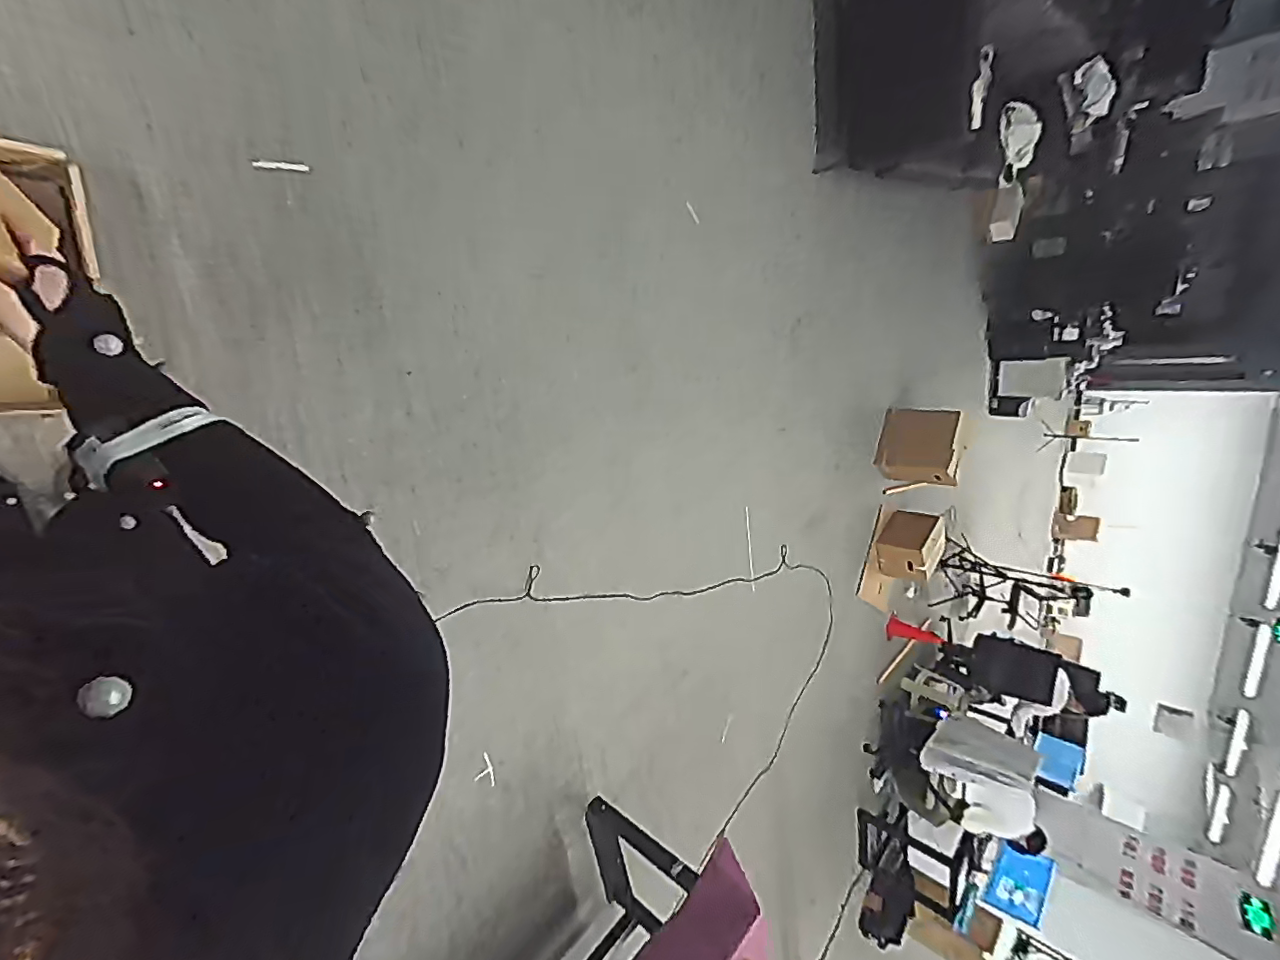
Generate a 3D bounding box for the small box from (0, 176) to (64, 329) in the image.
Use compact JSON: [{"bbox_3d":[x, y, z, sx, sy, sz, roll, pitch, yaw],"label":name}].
[{"bbox_3d":[-0.573,-0.192,0.375,0.168,0.176,0.179,-35,145,-16],"label":"small box"}]
